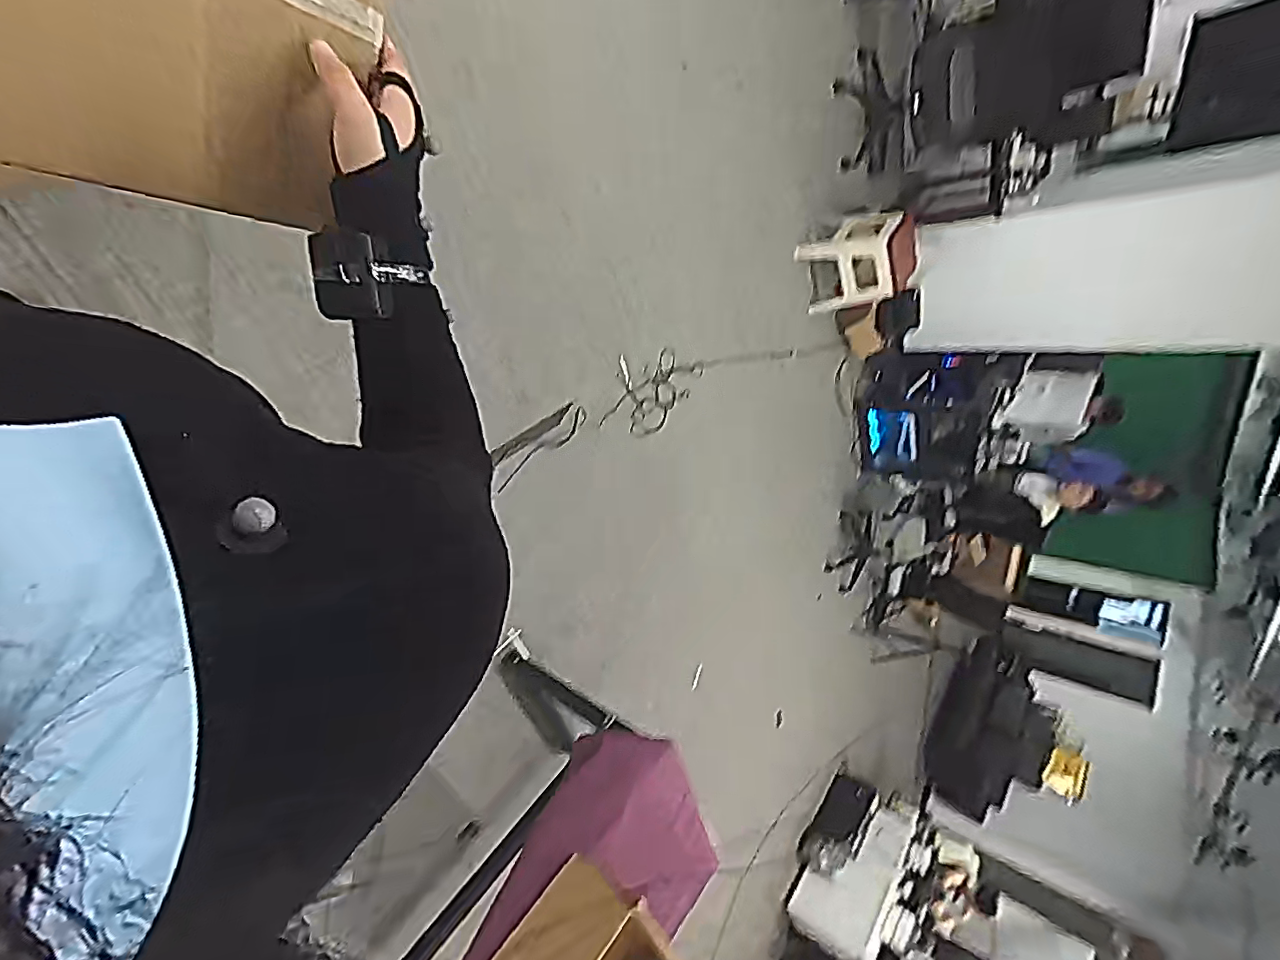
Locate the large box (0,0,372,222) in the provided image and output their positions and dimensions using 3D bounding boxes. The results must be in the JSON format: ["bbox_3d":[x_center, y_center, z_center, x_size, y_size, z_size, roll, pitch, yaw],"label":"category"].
[{"bbox_3d":[-0.431,-0.411,0.344,0.408,0.320,0.320,-7,128,-46],"label":"large box"}]
